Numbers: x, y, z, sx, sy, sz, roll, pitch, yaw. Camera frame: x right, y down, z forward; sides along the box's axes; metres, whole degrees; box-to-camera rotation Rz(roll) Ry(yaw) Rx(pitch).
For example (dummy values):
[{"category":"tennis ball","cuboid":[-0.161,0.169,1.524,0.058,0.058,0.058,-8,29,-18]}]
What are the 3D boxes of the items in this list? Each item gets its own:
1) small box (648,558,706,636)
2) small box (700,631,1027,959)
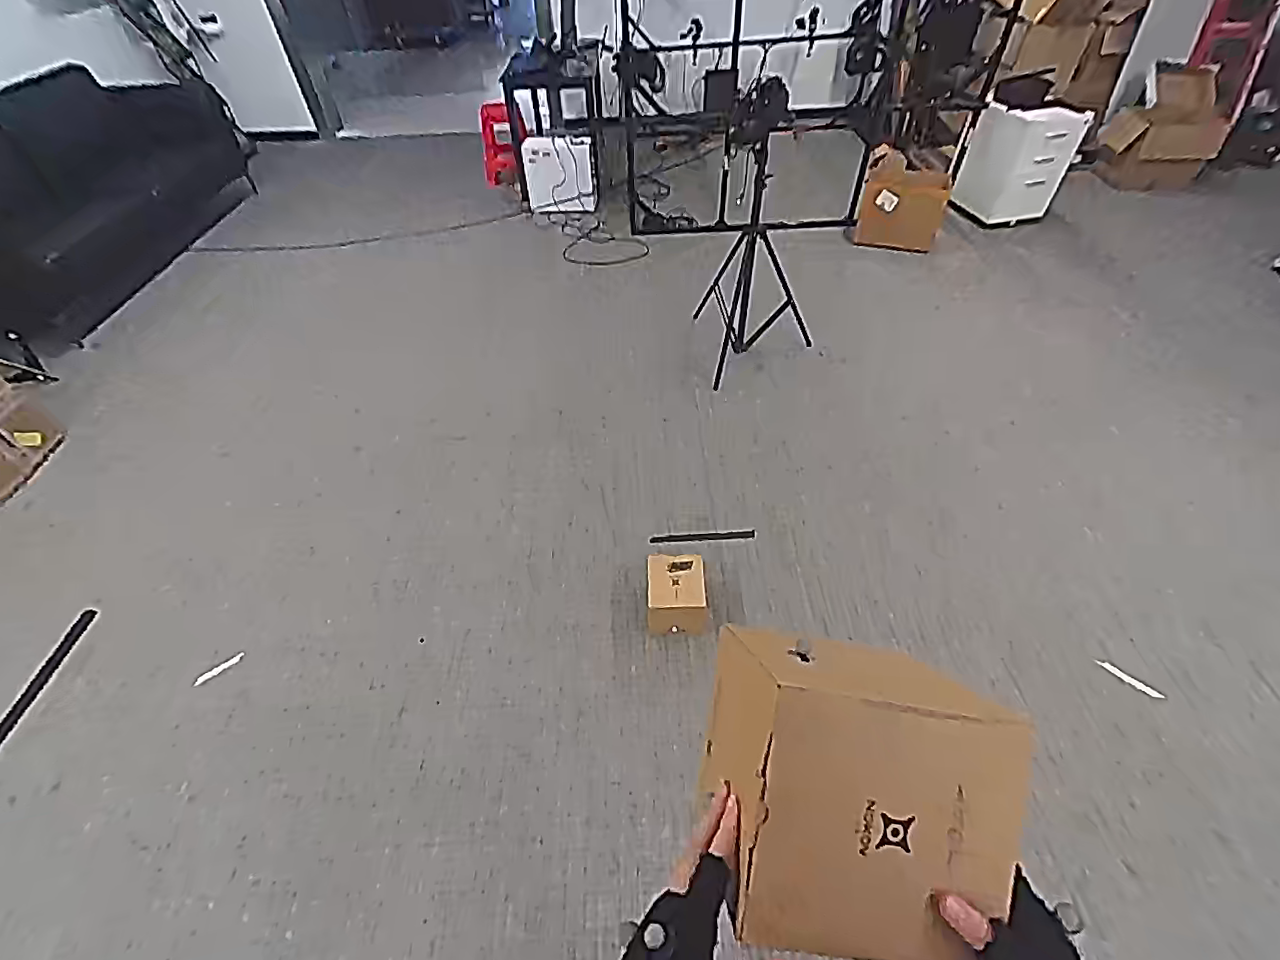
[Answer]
[{"category":"small box","cuboid":[0.109,0.352,1.631,0.168,0.176,0.179,-1,48,2]},{"category":"small box","cuboid":[0.153,0.228,0.429,0.179,0.176,0.168,9,88,-4]}]
